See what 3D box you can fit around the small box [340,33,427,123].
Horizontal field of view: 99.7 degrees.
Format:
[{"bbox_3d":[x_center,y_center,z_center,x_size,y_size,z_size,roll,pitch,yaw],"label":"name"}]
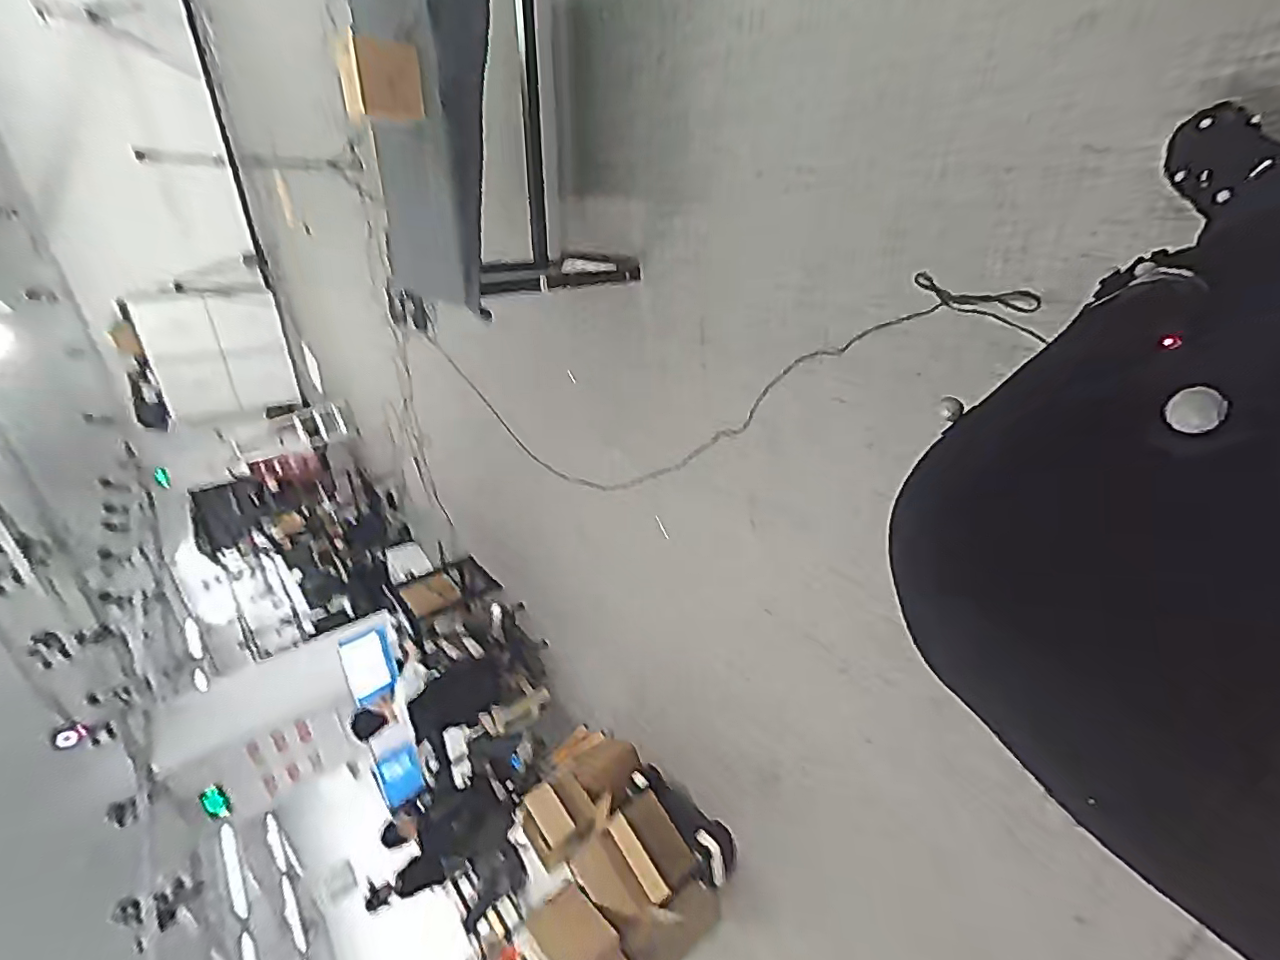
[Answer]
[{"bbox_3d":[-0.712,-1.112,1.511,0.168,0.176,0.179,29,128,45],"label":"small box"}]
